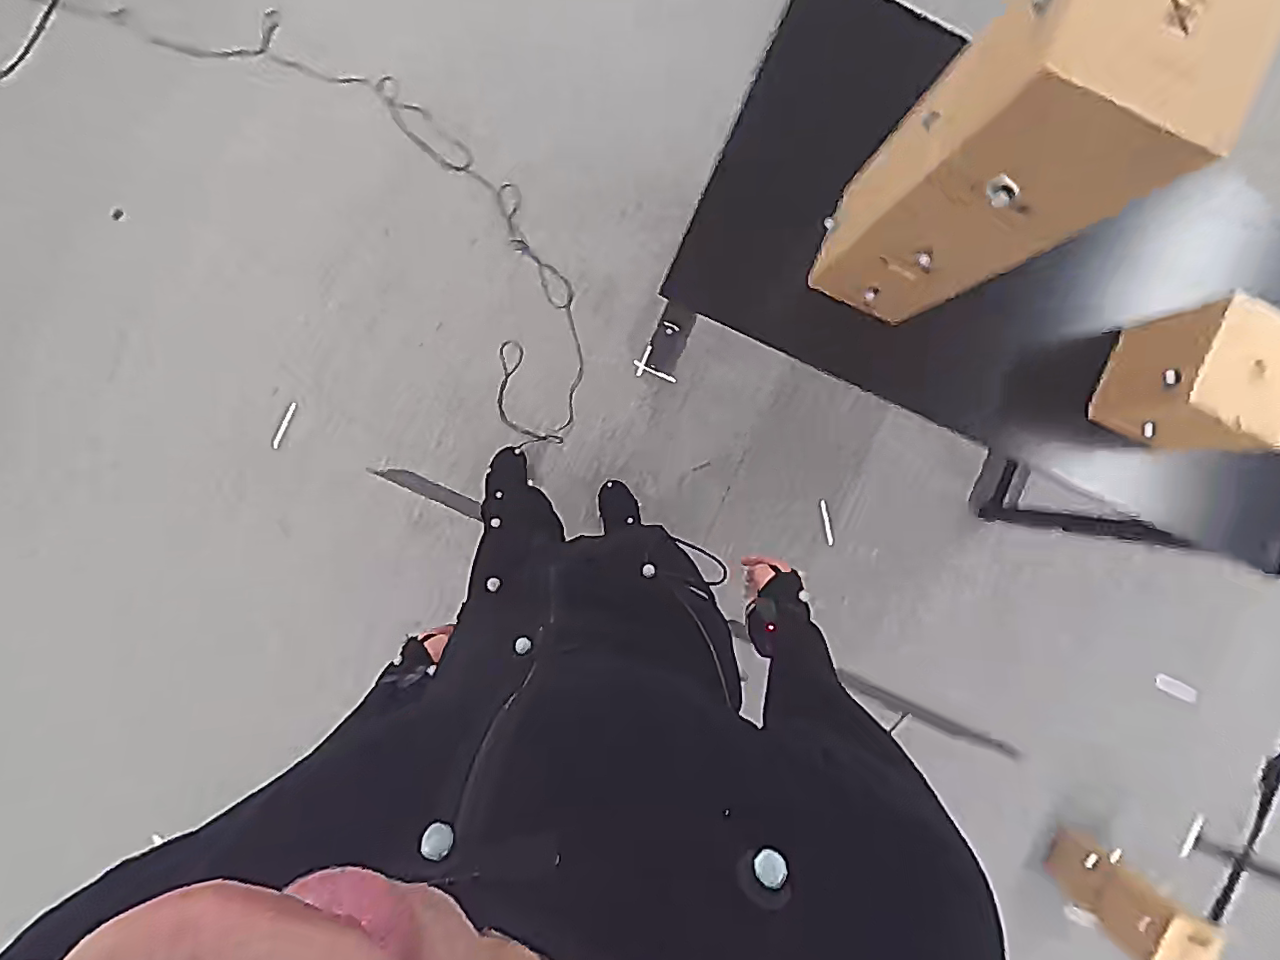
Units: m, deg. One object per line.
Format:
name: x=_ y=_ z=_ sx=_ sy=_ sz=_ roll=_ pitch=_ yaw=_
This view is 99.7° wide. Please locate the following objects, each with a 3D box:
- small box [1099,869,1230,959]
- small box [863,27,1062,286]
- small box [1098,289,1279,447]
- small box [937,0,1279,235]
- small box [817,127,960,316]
small box: x=1.425 y=1.222 z=1.481 sx=0.168 sy=0.176 sz=0.179 roll=24 pitch=92 yaw=-4
small box: x=0.400 y=-0.368 z=0.650 sx=0.168 sy=0.176 sz=0.179 roll=23 pitch=90 yaw=-3
small box: x=0.884 y=-0.163 z=0.850 sx=0.168 sy=0.176 sz=0.179 roll=23 pitch=91 yaw=-3
small box: x=0.410 y=-0.362 z=0.488 sx=0.168 sy=0.176 sz=0.179 roll=22 pitch=91 yaw=-2
small box: x=0.390 y=-0.371 z=0.815 sx=0.168 sy=0.176 sz=0.179 roll=22 pitch=91 yaw=-4
